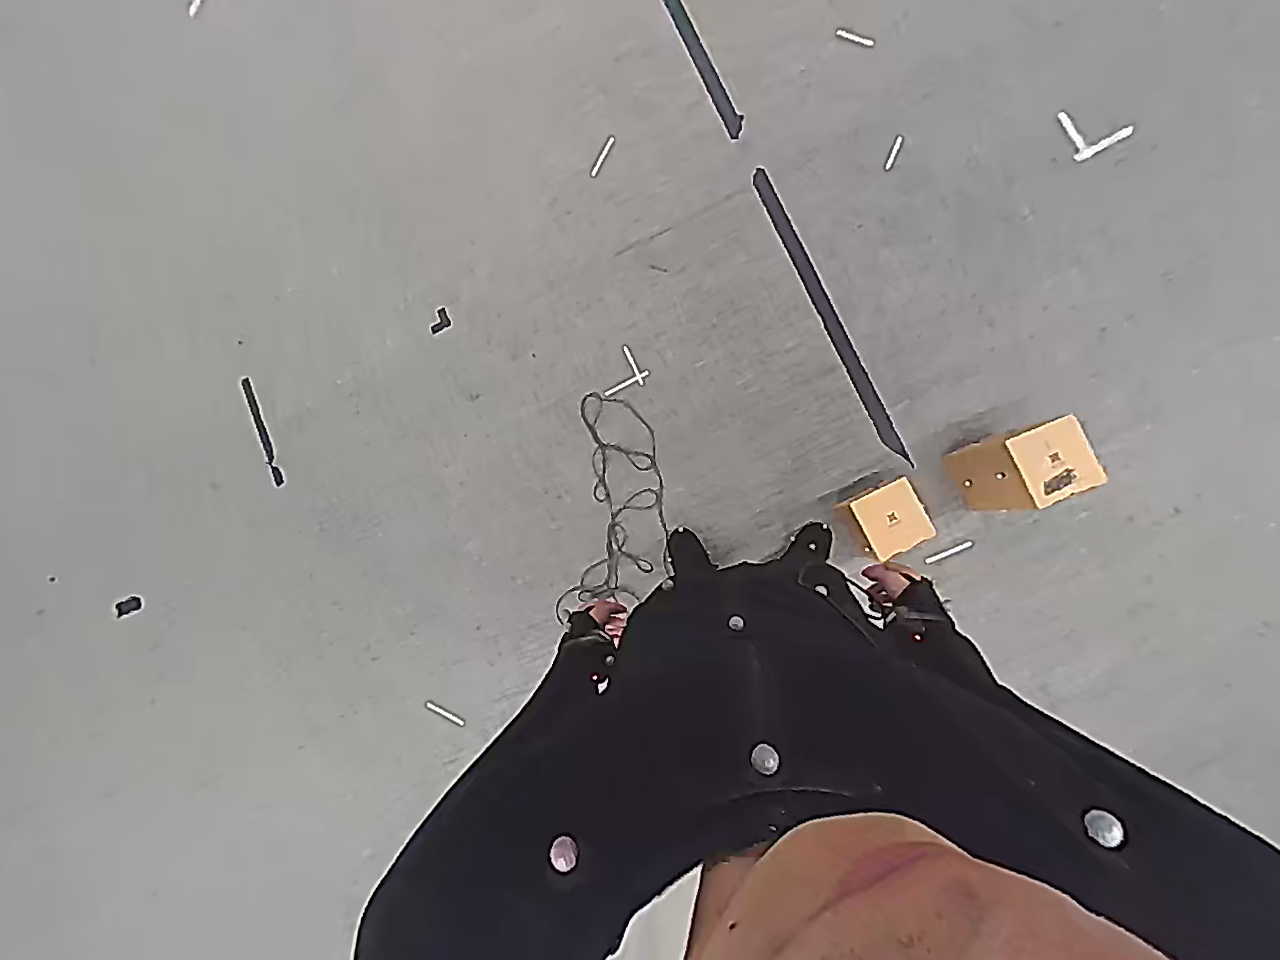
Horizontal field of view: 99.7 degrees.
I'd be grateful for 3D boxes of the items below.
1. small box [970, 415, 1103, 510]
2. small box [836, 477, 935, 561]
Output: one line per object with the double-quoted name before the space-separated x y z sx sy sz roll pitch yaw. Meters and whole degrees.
"small box" 0.957 -0.037 1.321 0.168 0.176 0.179 -24 83 4
"small box" 0.676 0.110 1.513 0.168 0.176 0.179 -28 84 4
